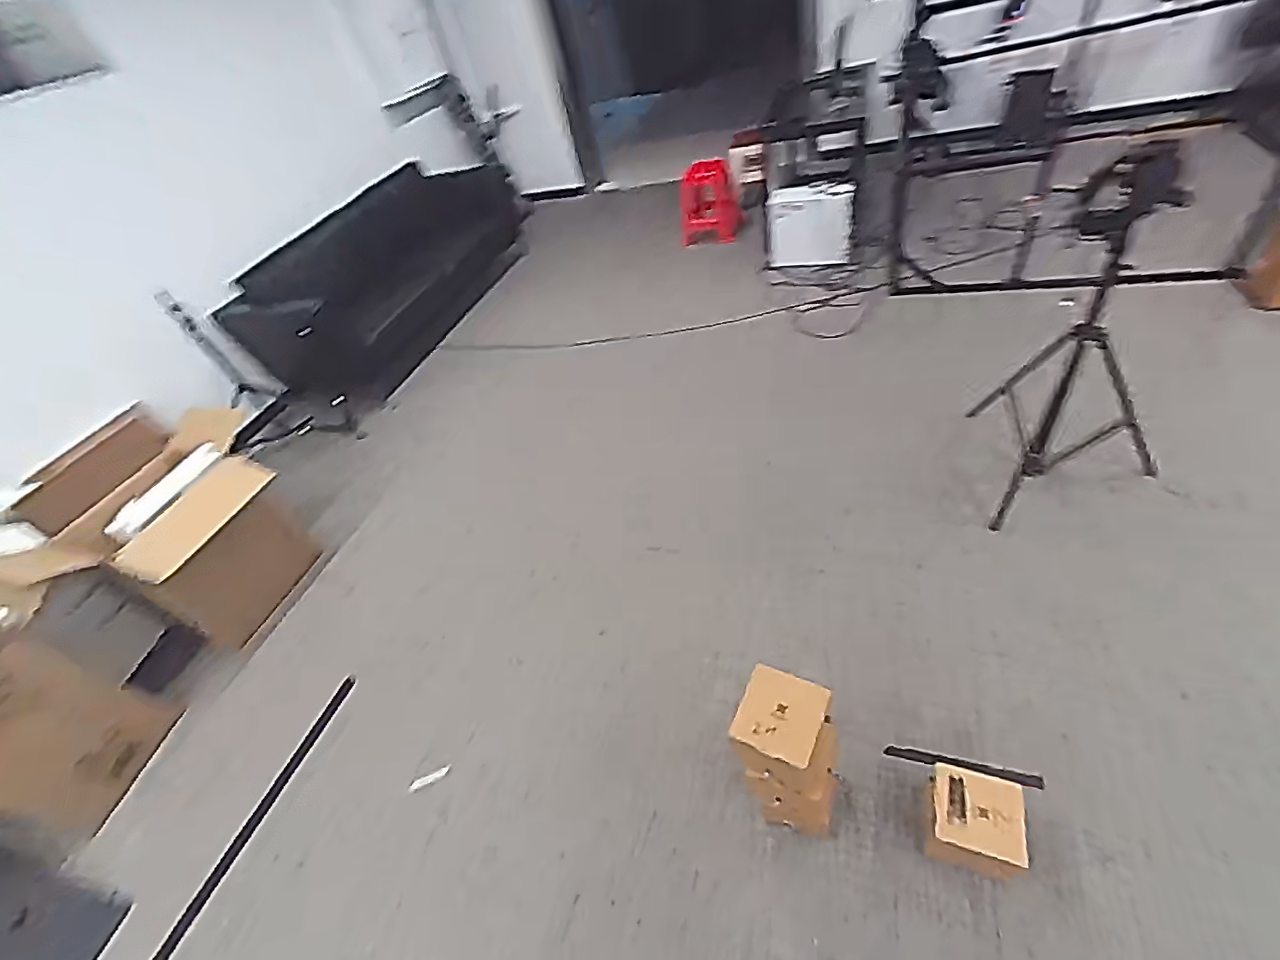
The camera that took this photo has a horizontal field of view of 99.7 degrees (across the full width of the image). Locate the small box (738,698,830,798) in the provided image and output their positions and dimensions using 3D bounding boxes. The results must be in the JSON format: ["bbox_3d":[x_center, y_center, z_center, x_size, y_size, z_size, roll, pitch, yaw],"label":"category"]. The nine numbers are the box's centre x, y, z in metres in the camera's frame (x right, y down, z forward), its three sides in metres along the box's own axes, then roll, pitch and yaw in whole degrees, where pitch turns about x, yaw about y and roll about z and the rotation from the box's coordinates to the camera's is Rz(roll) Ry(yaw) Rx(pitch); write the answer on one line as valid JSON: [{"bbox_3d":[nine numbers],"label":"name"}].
[{"bbox_3d":[0.338,0.599,1.253,0.168,0.176,0.179,9,50,26],"label":"small box"}]

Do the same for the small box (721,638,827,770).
[{"bbox_3d":[0.288,0.477,1.152,0.168,0.176,0.179,14,53,30],"label":"small box"}]

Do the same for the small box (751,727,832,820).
[{"bbox_3d":[0.382,0.714,1.357,0.168,0.176,0.179,7,49,24],"label":"small box"}]
